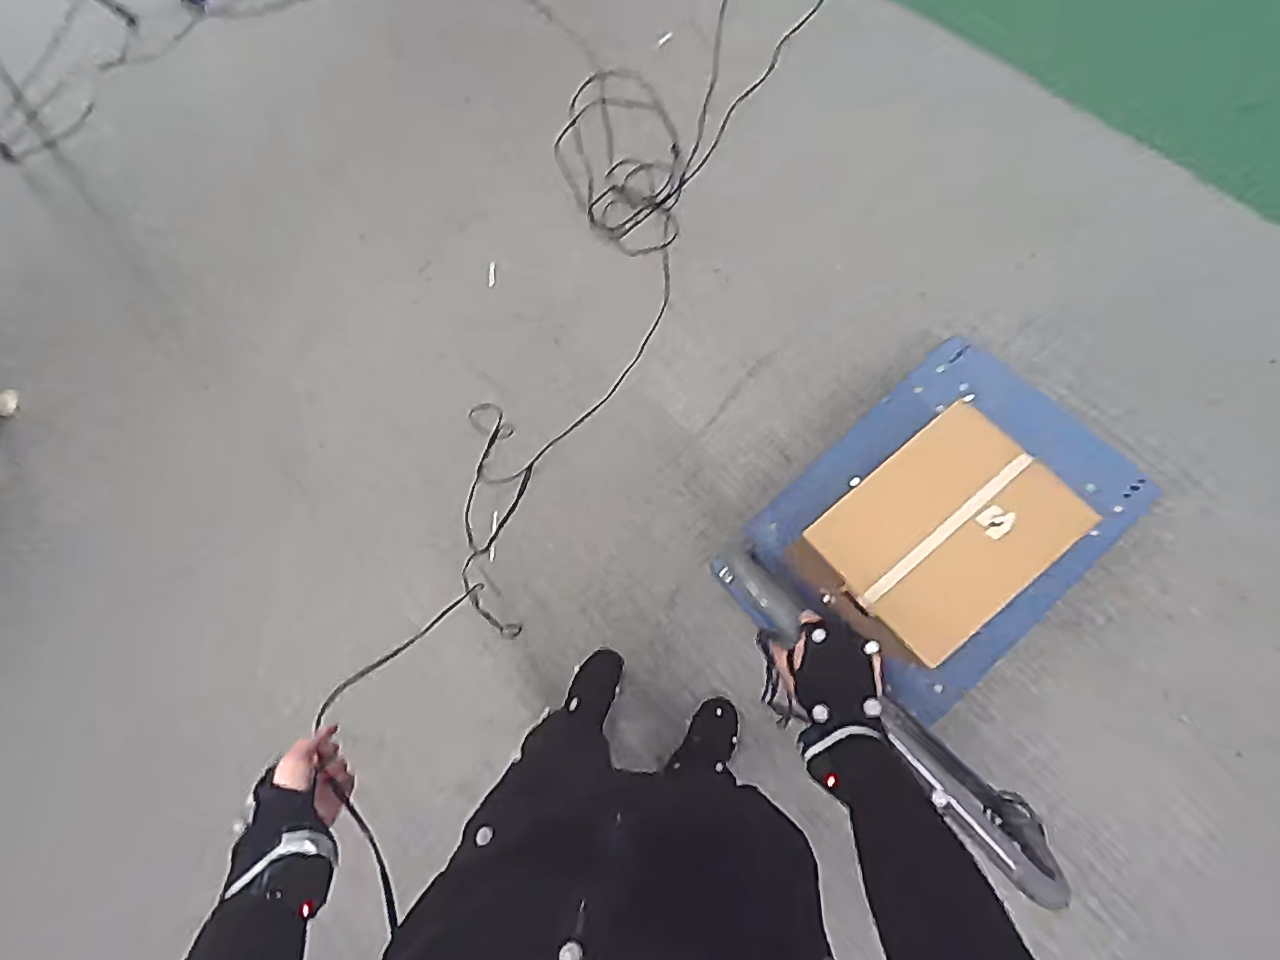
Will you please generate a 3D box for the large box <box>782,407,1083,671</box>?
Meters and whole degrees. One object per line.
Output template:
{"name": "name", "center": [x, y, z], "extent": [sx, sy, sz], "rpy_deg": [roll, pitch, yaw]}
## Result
{"name": "large box", "center": [0.558, 0.135, 1.121], "extent": [0.408, 0.320, 0.320], "rpy_deg": [-40, 74, -4]}
